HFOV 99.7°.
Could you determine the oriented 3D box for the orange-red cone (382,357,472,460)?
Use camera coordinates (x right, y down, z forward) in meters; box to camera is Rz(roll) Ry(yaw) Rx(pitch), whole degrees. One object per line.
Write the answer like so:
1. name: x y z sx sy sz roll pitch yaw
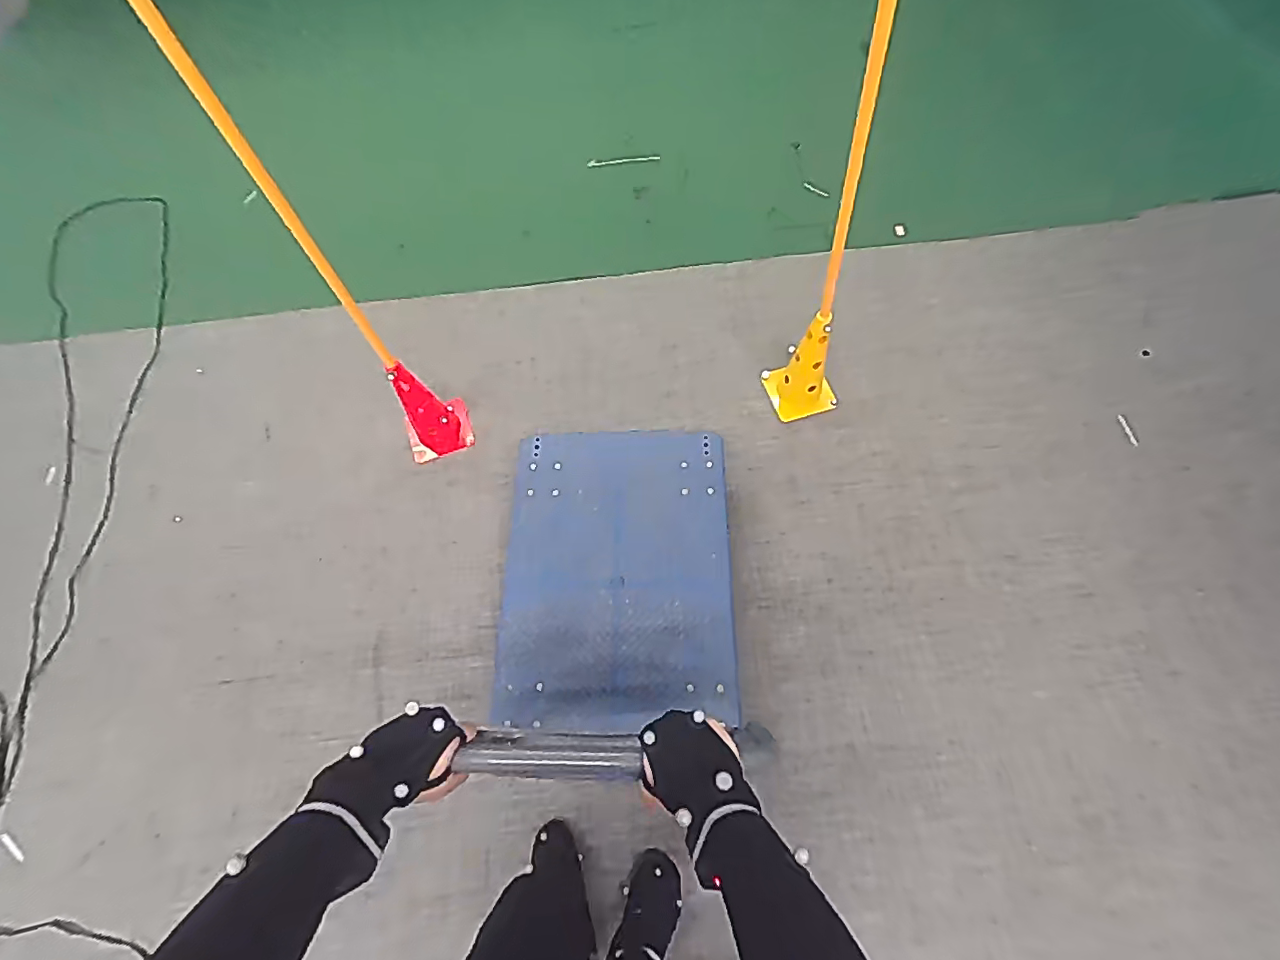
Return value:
1. orange-red cone: -0.668 -0.242 1.611 0.199 0.360 0.198 -20 65 -5
